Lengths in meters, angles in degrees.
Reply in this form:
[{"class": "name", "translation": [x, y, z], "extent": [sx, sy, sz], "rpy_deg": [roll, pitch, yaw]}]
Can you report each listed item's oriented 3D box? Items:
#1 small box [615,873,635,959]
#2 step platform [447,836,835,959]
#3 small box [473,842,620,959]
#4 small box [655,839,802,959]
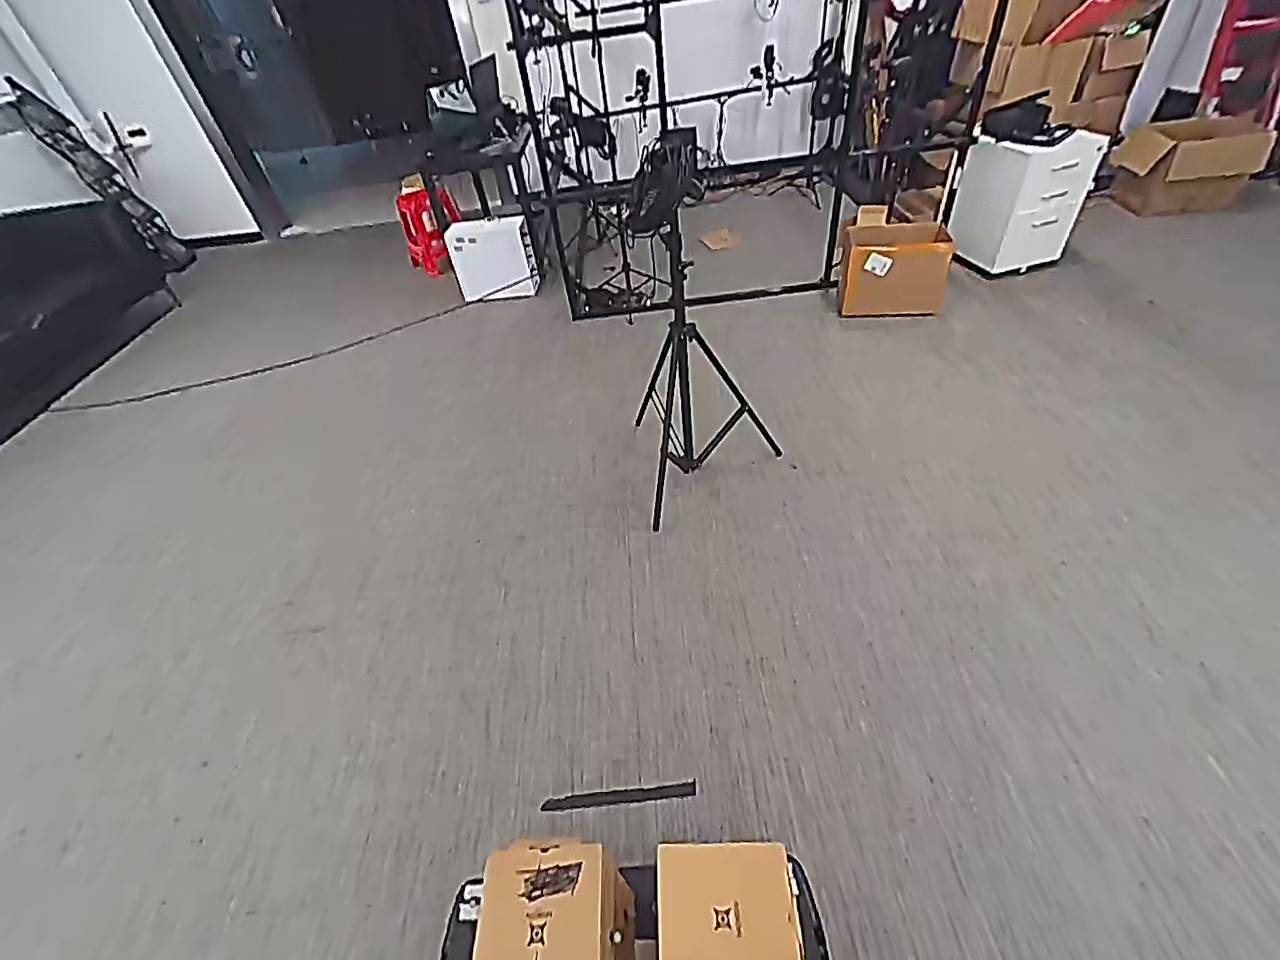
[{"class": "small box", "translation": [-0.100, 0.751, 0.857], "extent": [0.168, 0.176, 0.179], "rpy_deg": [-6, 43, 4]}, {"class": "step platform", "translation": [0.001, 0.856, 0.984], "extent": [0.684, 0.204, 0.286], "rpy_deg": [-7, 42, 2]}, {"class": "small box", "translation": [-0.120, 0.629, 0.748], "extent": [0.168, 0.176, 0.179], "rpy_deg": [-6, 43, 3]}, {"class": "small box", "translation": [0.116, 0.608, 0.735], "extent": [0.179, 0.176, 0.168], "rpy_deg": [-4, 43, 4]}]
